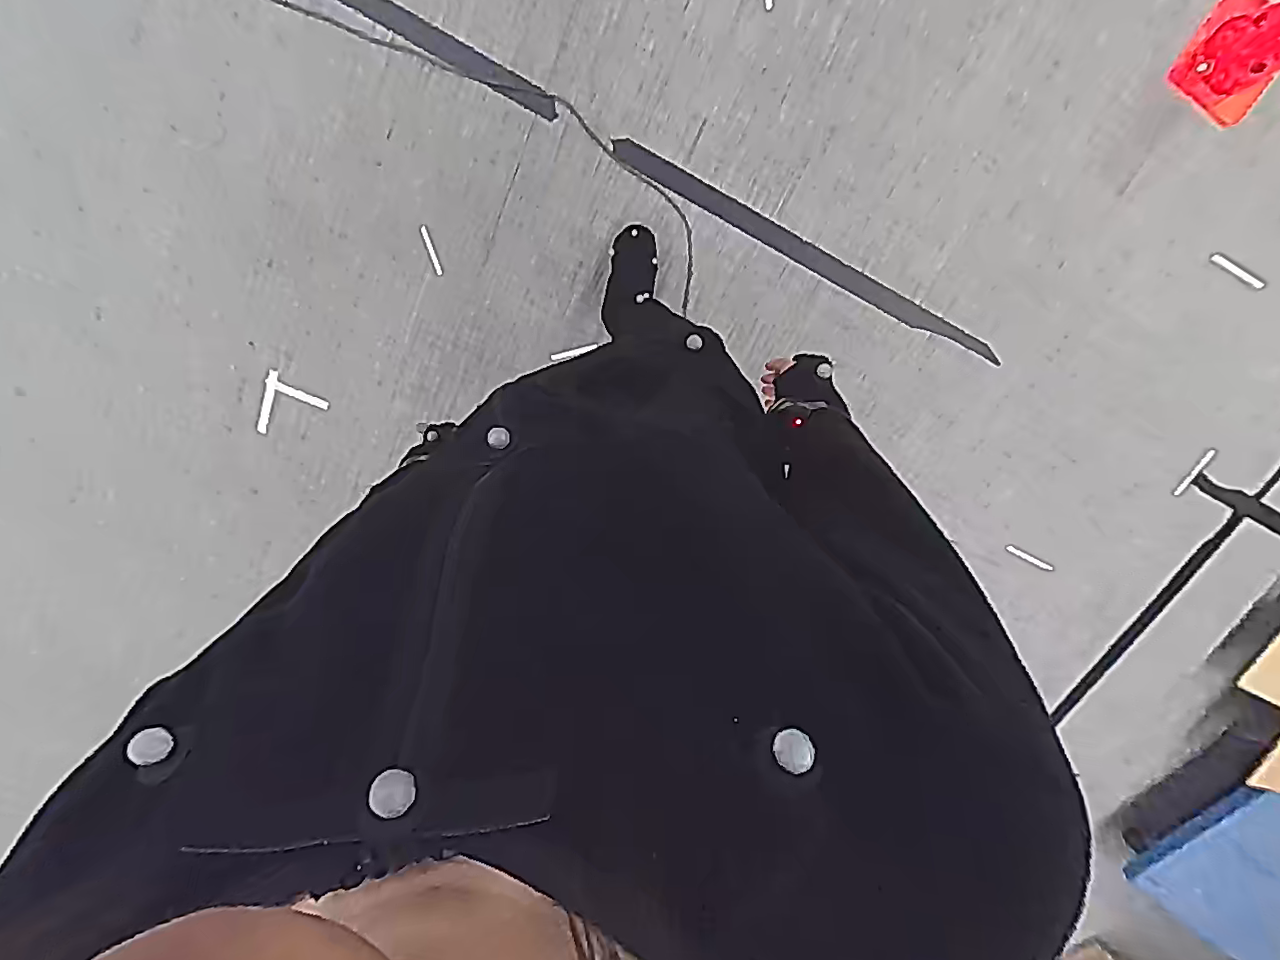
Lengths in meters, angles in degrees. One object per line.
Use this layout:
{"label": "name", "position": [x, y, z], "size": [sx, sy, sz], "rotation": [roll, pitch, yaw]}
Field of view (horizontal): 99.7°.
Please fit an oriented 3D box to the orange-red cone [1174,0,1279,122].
{"label": "orange-red cone", "position": [1.221, -0.816, 0.939], "size": [0.199, 0.360, 0.198], "rotation": [28, 107, -9]}
